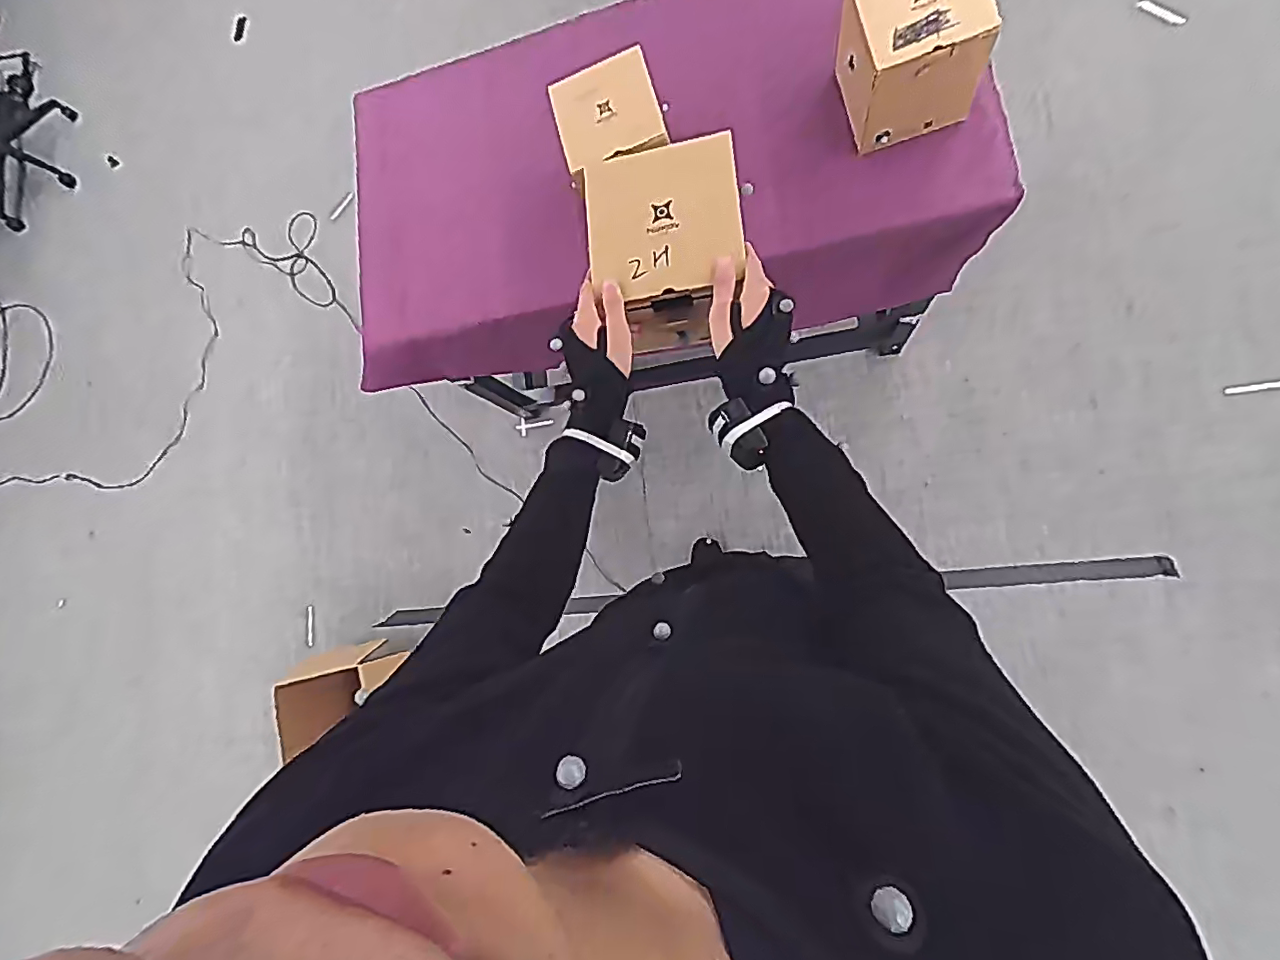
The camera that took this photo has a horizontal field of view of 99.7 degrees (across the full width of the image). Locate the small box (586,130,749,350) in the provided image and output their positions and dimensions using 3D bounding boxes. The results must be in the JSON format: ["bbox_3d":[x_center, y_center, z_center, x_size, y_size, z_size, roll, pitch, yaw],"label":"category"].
[{"bbox_3d":[0.041,-0.274,0.659,0.168,0.176,0.179,-6,88,12],"label":"small box"}]

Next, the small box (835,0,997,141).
[{"bbox_3d":[0.409,-0.665,0.833,0.168,0.176,0.179,-13,79,12],"label":"small box"}]

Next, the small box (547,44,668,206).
[{"bbox_3d":[-0.038,-0.581,0.937,0.168,0.176,0.179,-17,79,11],"label":"small box"}]
